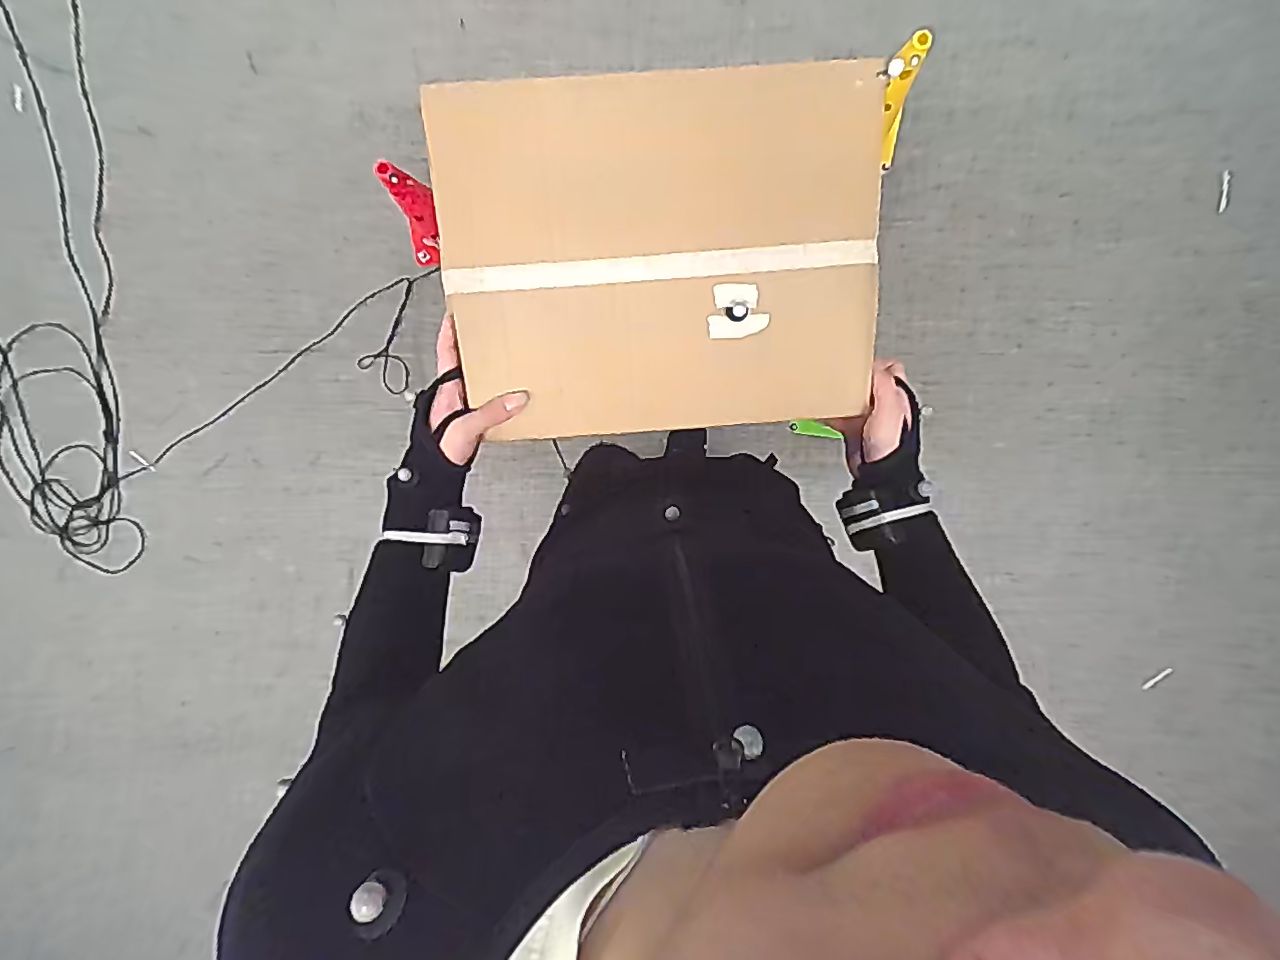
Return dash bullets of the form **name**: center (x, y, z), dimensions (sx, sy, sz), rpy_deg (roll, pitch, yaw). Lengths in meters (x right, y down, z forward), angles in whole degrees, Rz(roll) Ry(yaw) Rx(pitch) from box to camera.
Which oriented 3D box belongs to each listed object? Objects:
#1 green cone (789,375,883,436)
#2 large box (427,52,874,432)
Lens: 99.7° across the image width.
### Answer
- **green cone**: center (0.540, -0.223, 1.405), dimensions (0.200, 0.368, 0.202), rpy_deg (7, 94, 1)
- **large box**: center (0.014, -0.254, 0.657), dimensions (0.408, 0.320, 0.320), rpy_deg (-5, 107, -2)
